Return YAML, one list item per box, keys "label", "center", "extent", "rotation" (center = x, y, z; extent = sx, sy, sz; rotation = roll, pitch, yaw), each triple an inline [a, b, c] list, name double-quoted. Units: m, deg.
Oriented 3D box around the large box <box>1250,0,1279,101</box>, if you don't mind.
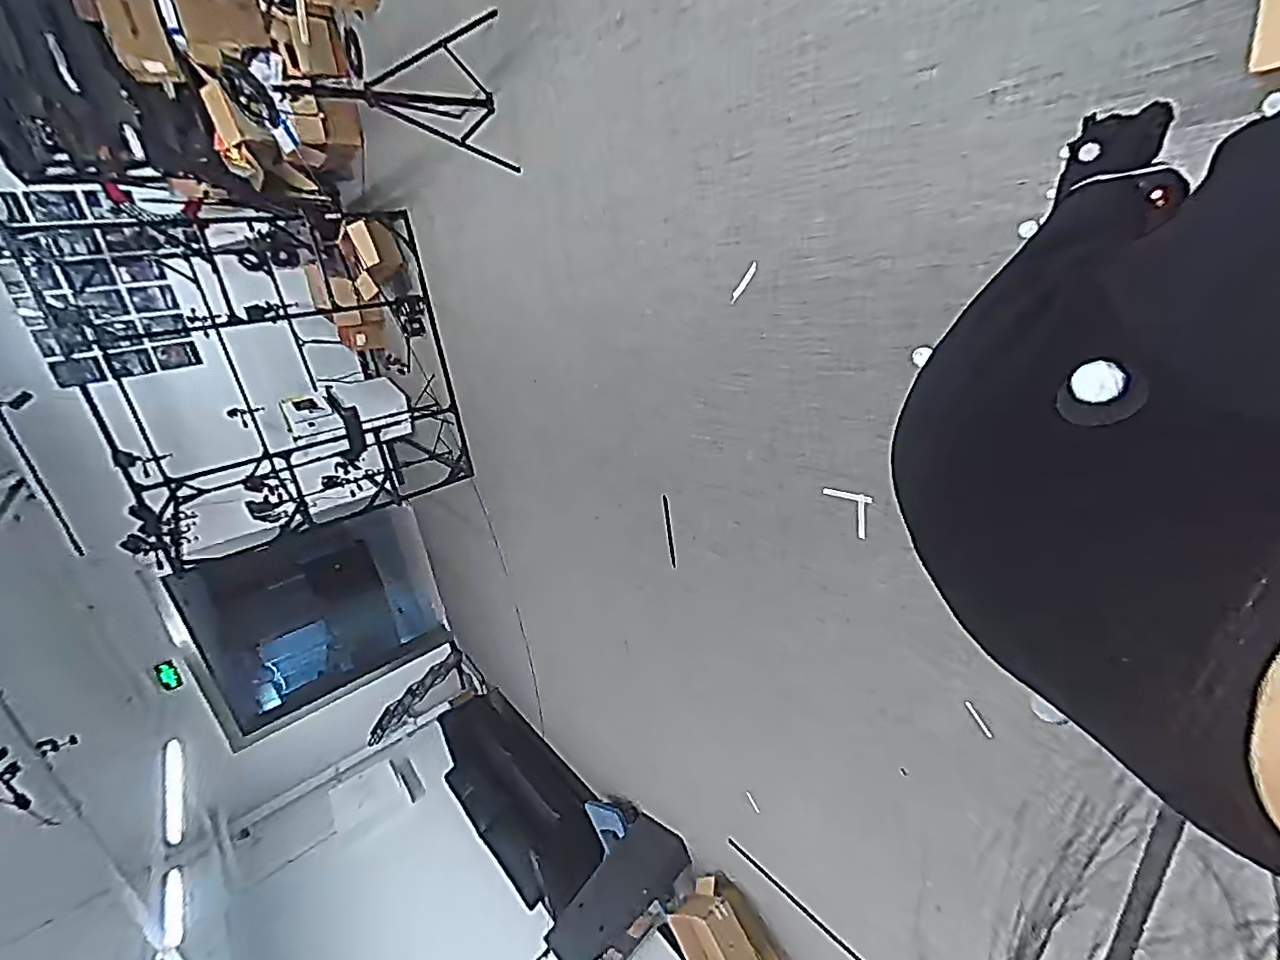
- label: "large box"
  center: [1.038, -0.701, 0.625]
  extent: [0.408, 0.320, 0.320]
  rotation: [13, 119, 49]
